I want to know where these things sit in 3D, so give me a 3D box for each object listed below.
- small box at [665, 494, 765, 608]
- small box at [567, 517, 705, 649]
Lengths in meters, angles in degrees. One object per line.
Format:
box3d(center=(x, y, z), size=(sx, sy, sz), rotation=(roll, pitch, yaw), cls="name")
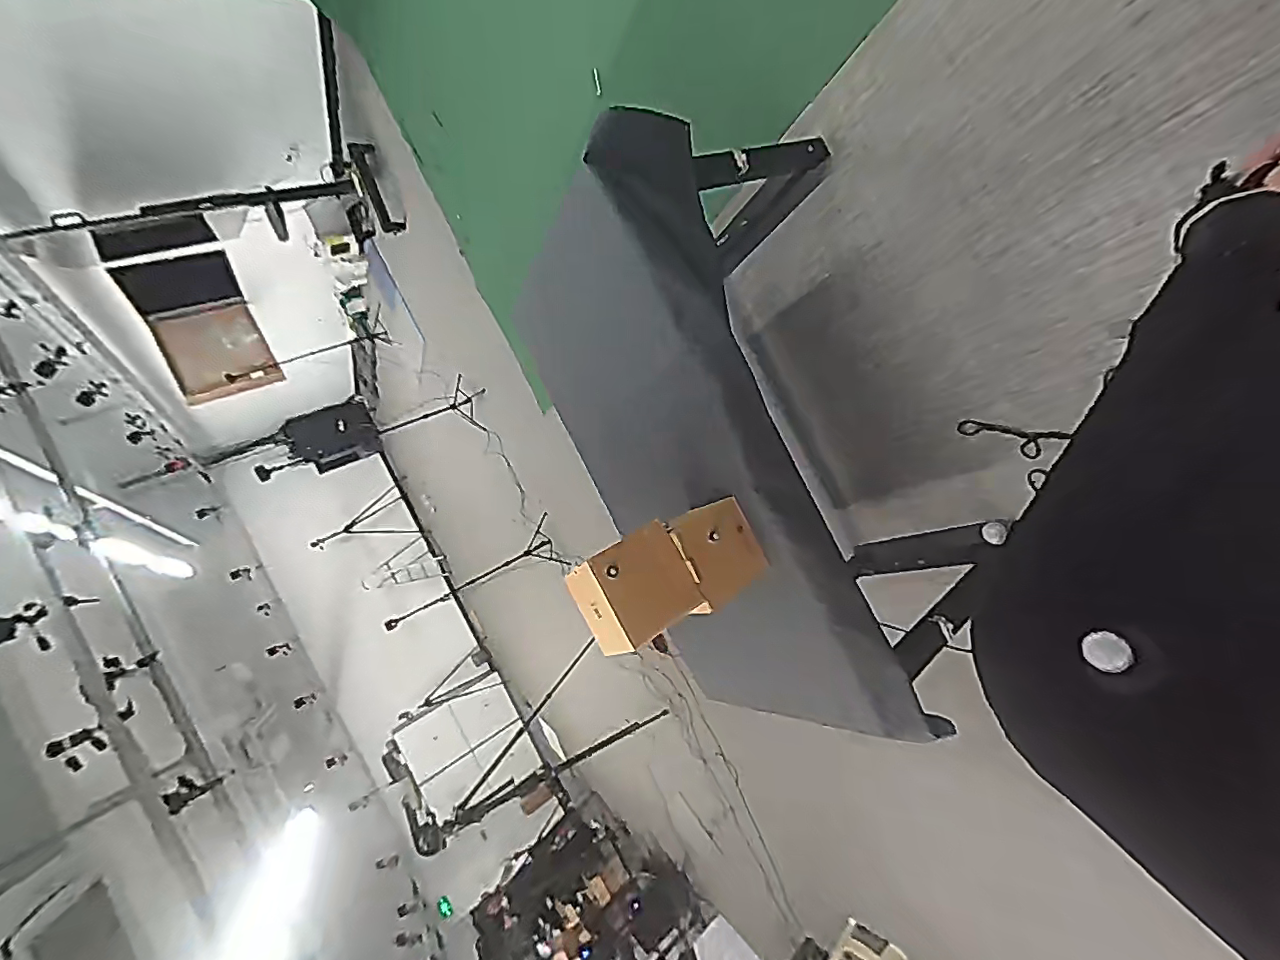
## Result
box3d(center=(0.127, 0.143, 1.088), size=(0.168, 0.176, 0.179), rotation=(64, 152, 1), cls="small box")
box3d(center=(-0.008, 0.194, 1.013), size=(0.179, 0.176, 0.168), rotation=(60, 151, 7), cls="small box")
